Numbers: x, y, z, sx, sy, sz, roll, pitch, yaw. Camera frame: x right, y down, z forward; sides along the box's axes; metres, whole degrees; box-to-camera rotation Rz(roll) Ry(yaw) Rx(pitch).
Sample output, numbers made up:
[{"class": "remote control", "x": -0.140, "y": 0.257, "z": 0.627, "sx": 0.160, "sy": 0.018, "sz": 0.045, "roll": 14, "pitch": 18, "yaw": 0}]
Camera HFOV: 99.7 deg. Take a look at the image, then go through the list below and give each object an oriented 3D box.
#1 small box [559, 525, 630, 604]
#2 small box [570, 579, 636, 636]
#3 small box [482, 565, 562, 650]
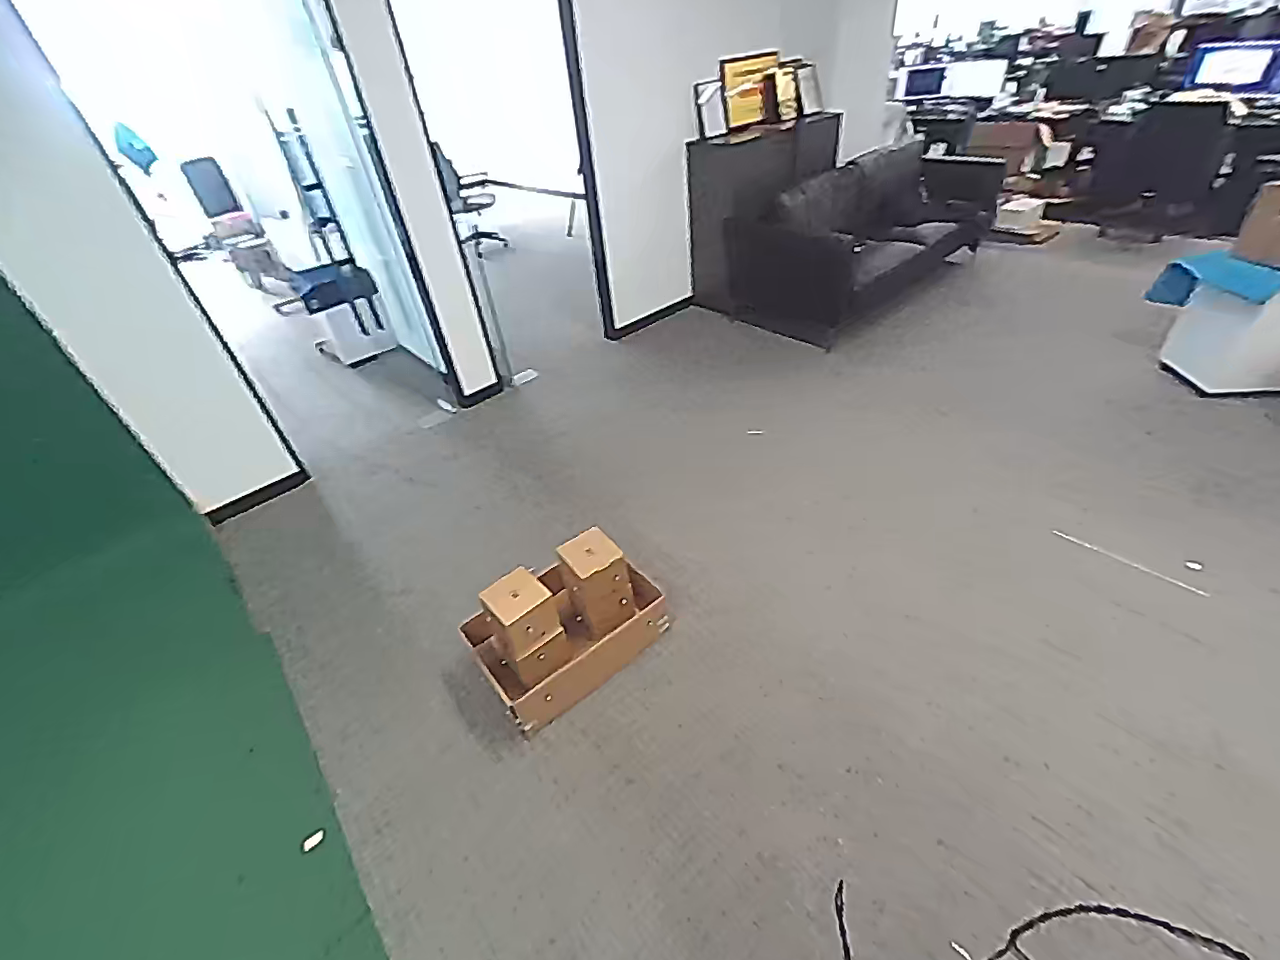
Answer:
[{"class": "small box", "x": -0.148, "y": 0.291, "z": 1.825, "sx": 0.168, "sy": 0.176, "sz": 0.179, "roll": -28, "pitch": 43, "yaw": -24}, {"class": "small box", "x": -0.127, "y": 0.416, "z": 1.927, "sx": 0.179, "sy": 0.176, "sz": 0.168, "roll": -29, "pitch": 43, "yaw": -23}, {"class": "small box", "x": -0.369, "y": 0.410, "z": 1.716, "sx": 0.168, "sy": 0.176, "sz": 0.179, "roll": -33, "pitch": 45, "yaw": -29}]
